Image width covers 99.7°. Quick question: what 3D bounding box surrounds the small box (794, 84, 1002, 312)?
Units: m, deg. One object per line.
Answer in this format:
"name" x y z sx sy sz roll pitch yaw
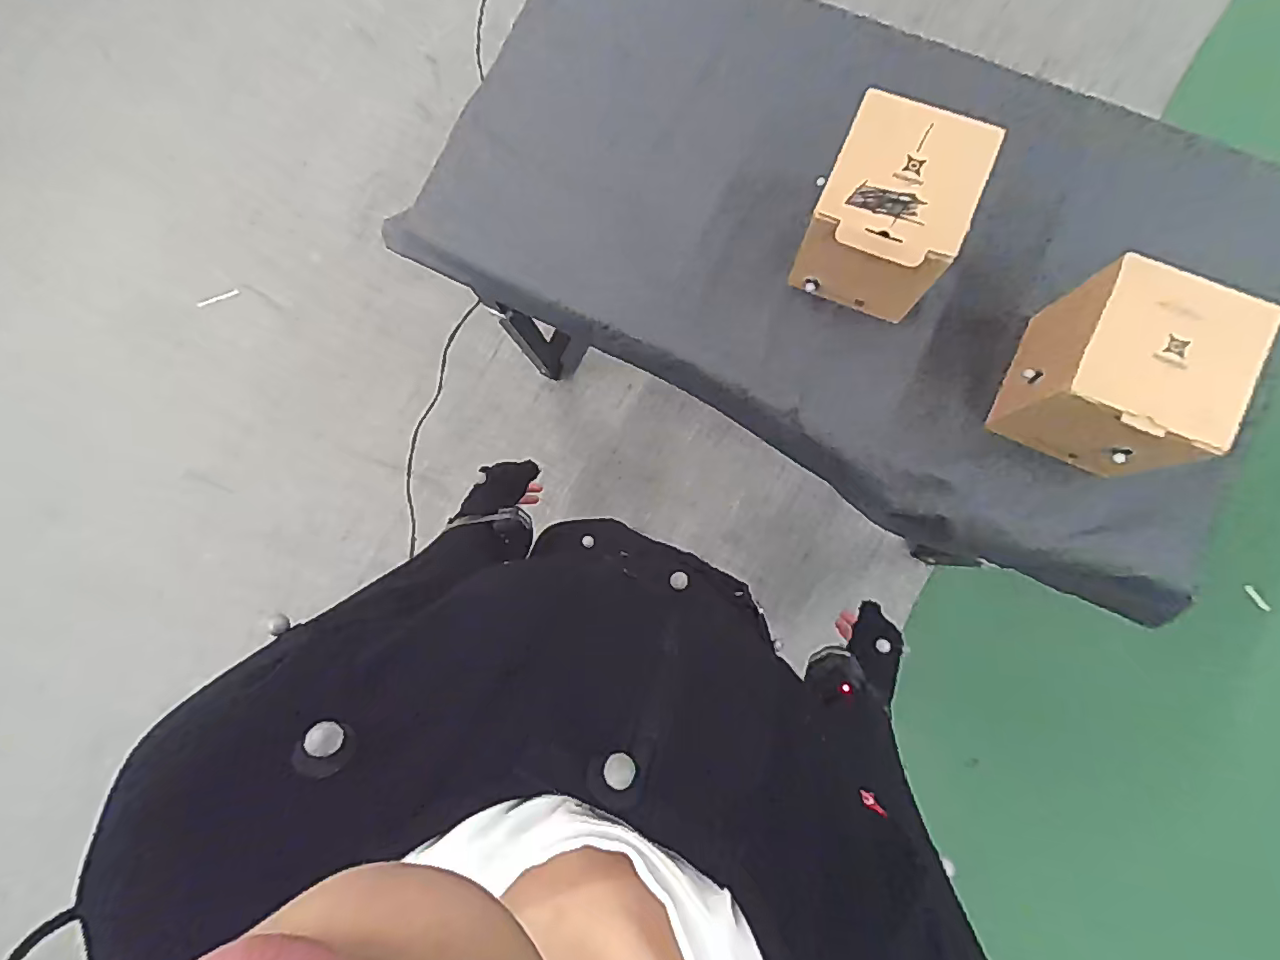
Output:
"small box" 0.313 -0.347 0.698 0.168 0.176 0.179 24 85 7

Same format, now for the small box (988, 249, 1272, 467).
"small box" 0.564 -0.131 0.652 0.168 0.176 0.179 25 84 7
